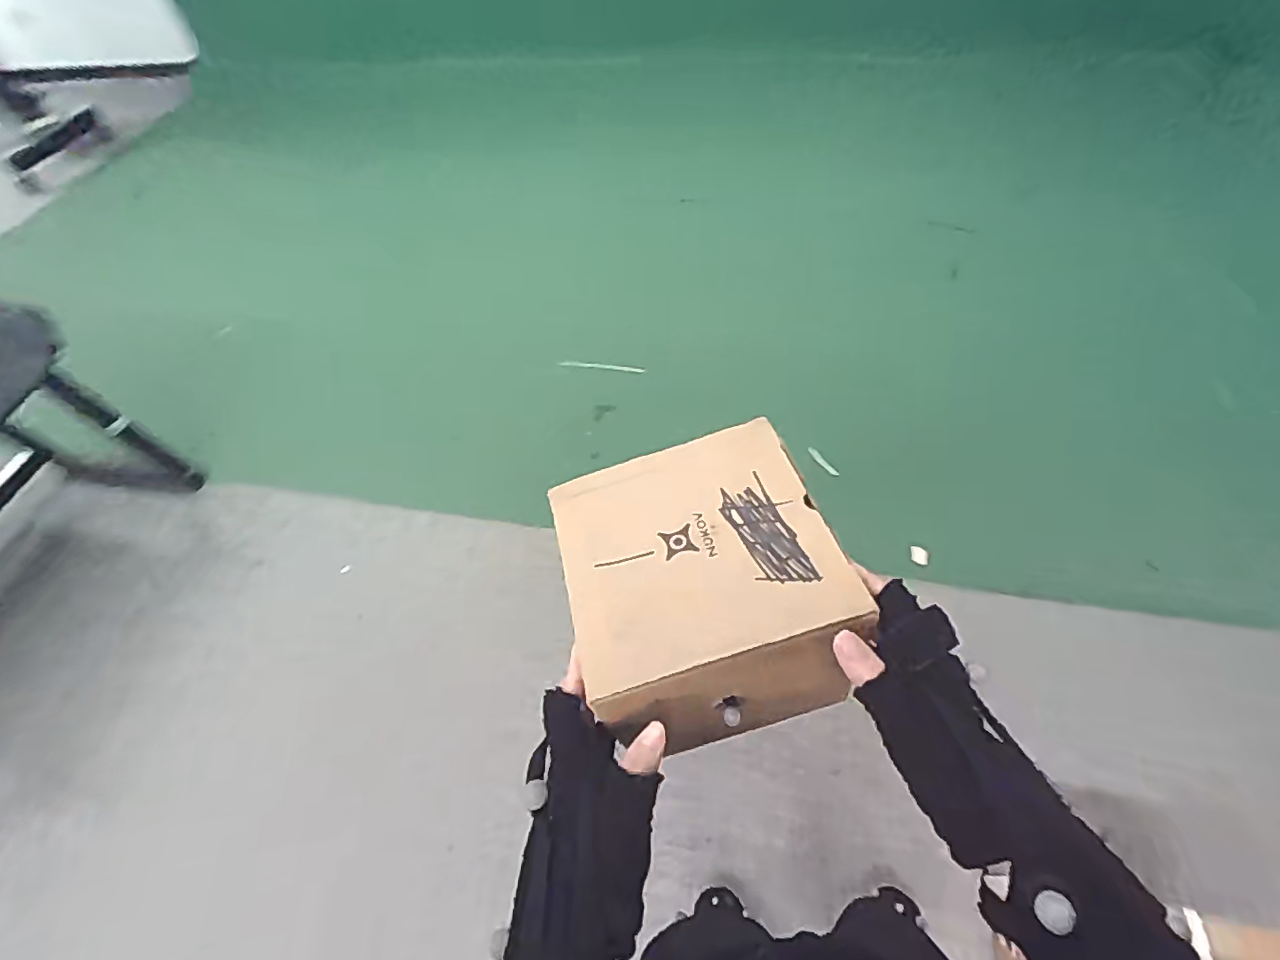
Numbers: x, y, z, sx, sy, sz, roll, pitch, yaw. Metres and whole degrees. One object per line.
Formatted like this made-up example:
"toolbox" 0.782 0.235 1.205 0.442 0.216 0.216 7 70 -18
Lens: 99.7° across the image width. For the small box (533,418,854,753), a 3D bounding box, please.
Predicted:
"small box" 0.037 0.088 0.418 0.179 0.176 0.168 -20 51 0
